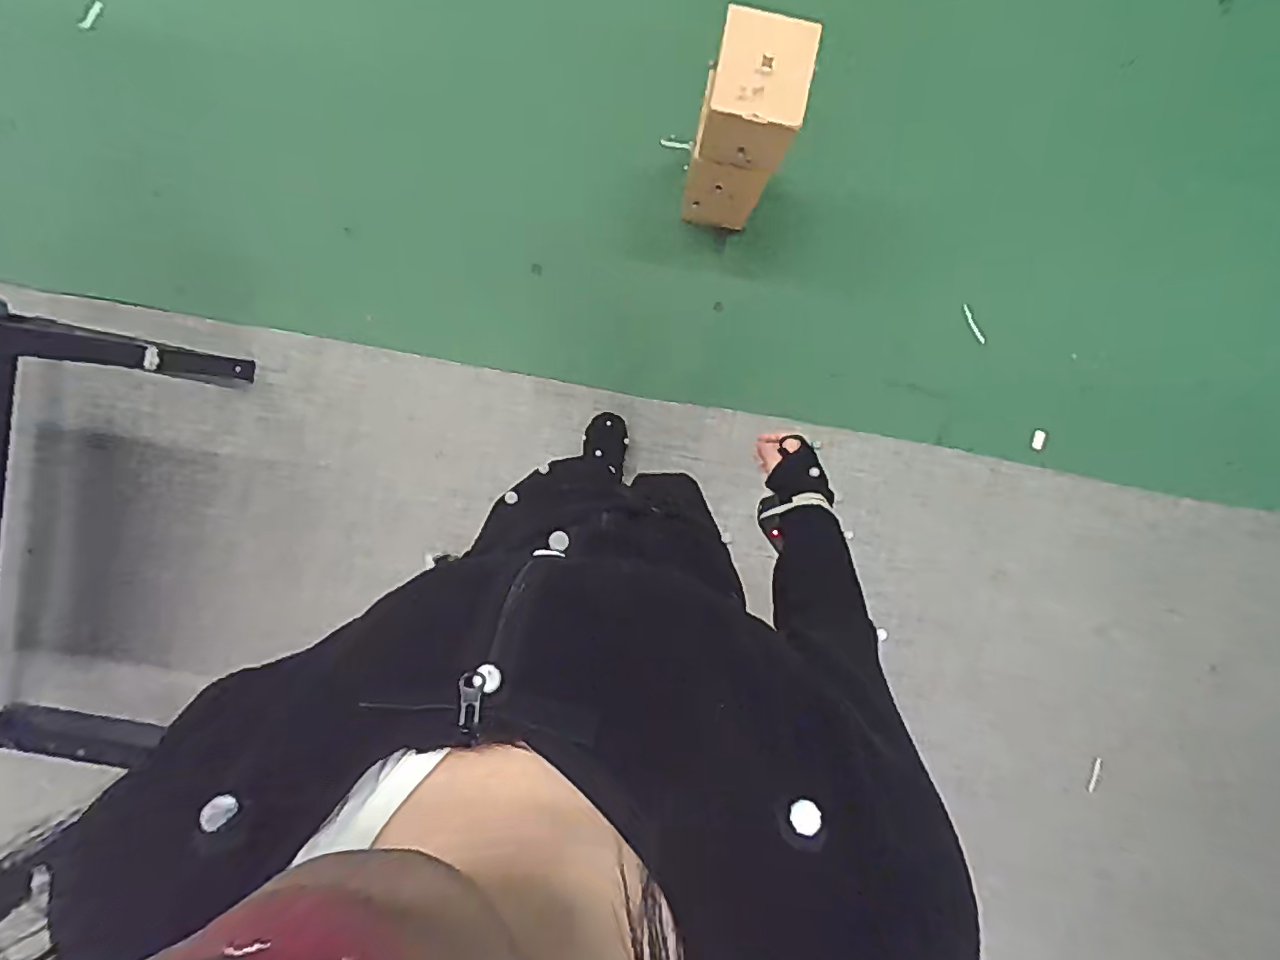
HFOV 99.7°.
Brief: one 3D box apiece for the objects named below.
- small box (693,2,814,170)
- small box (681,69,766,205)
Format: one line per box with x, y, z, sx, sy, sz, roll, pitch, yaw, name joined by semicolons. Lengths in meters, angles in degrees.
0.201;-0.720;1.009;0.168;0.176;0.179;10;95;-3;small box
0.187;-0.733;1.173;0.168;0.176;0.179;9;95;-3;small box
